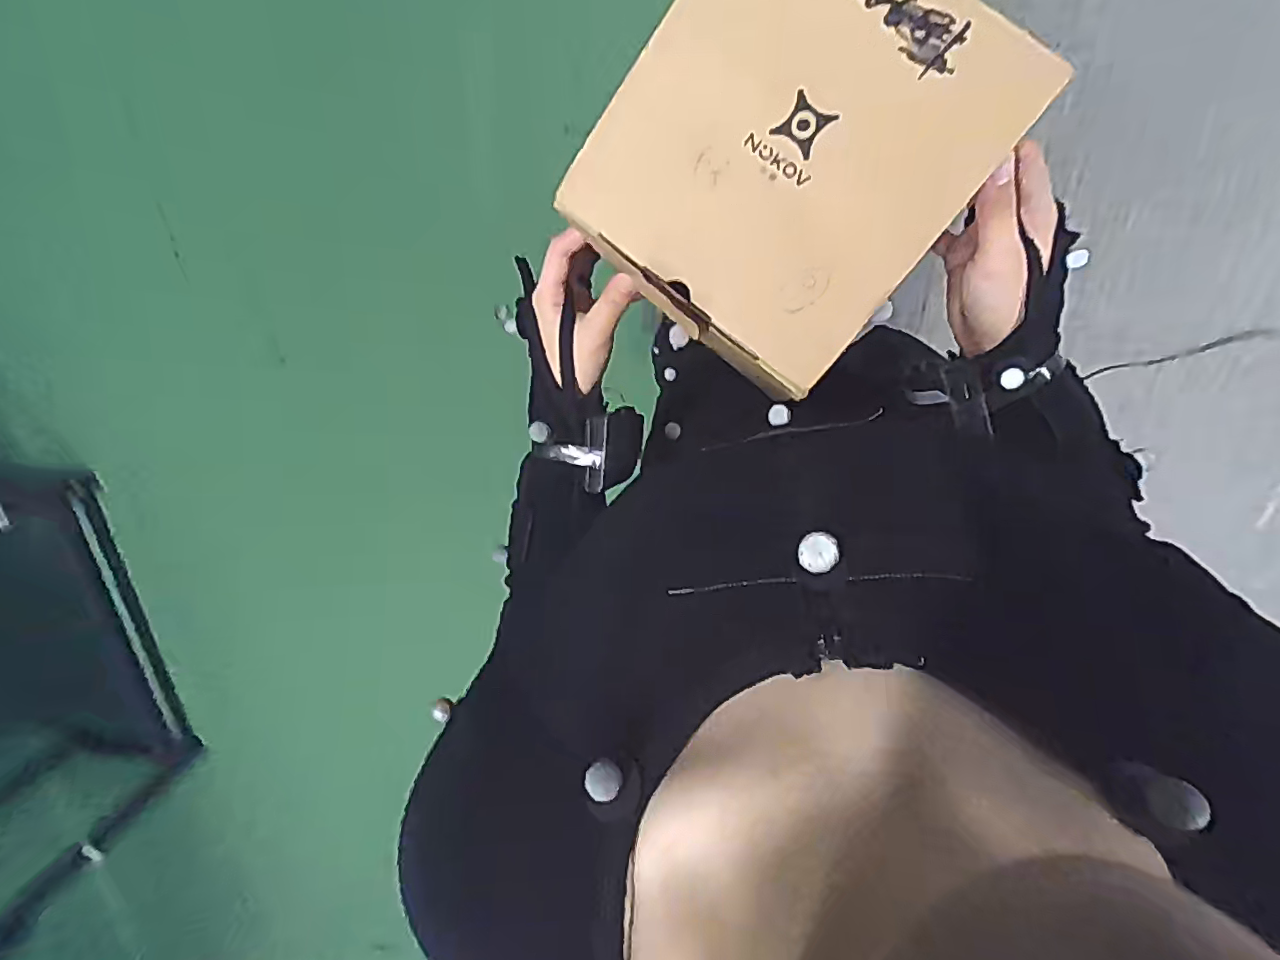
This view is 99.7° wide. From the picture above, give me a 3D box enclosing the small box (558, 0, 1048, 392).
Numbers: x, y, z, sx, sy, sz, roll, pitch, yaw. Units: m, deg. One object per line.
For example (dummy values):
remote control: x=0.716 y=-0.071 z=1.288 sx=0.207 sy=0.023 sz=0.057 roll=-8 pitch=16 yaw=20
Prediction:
small box: x=0.084 y=-0.171 z=0.339 sx=0.168 sy=0.176 sz=0.179 roll=40 pitch=103 yaw=3
